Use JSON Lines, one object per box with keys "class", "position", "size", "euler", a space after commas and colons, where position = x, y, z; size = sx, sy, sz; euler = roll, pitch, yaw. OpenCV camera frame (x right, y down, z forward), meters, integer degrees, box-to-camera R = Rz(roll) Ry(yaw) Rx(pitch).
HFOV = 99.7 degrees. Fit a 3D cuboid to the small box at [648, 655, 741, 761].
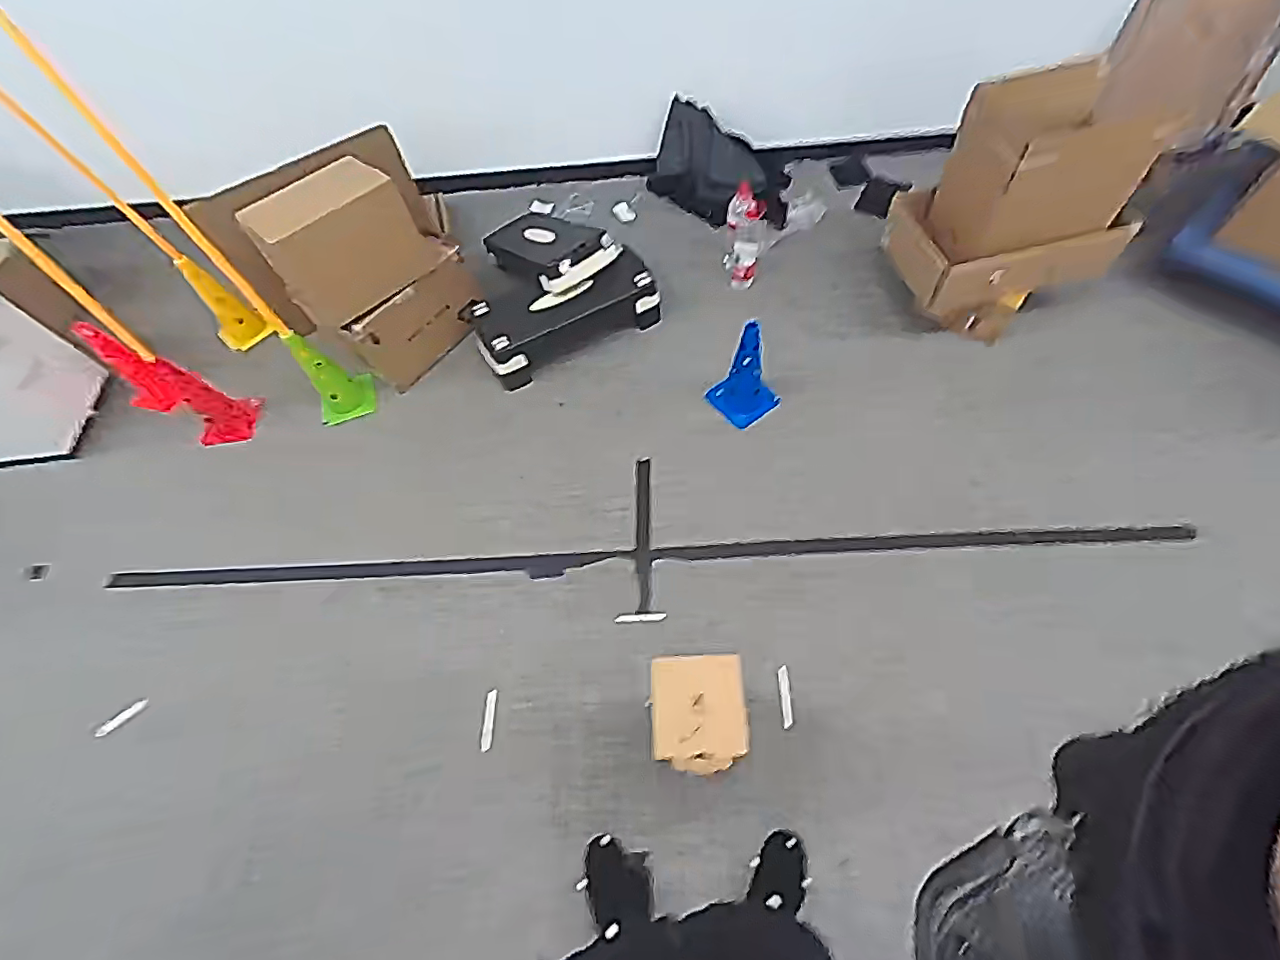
{"class": "small box", "position": [0.099, 0.448, 1.056], "size": [0.168, 0.176, 0.179], "euler": [-2, 62, 3]}
